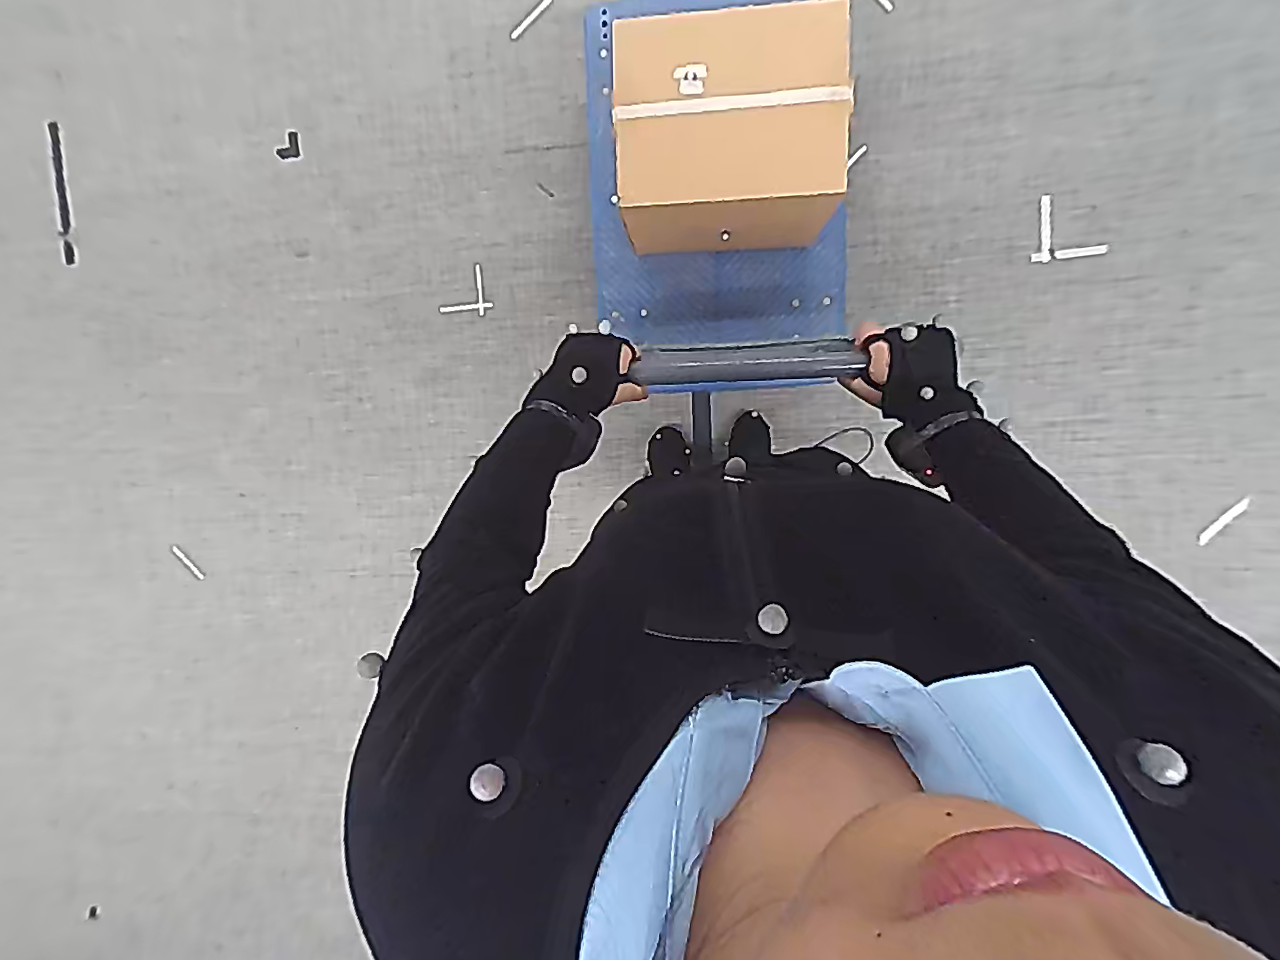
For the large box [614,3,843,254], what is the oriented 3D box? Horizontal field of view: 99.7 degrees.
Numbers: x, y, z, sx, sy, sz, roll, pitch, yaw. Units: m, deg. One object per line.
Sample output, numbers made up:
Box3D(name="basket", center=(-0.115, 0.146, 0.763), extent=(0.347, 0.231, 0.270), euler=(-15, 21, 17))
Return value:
Box3D(name="large box", center=(0.175, -0.676, 1.110), extent=(0.408, 0.320, 0.320), euler=(-1, 96, 7))
